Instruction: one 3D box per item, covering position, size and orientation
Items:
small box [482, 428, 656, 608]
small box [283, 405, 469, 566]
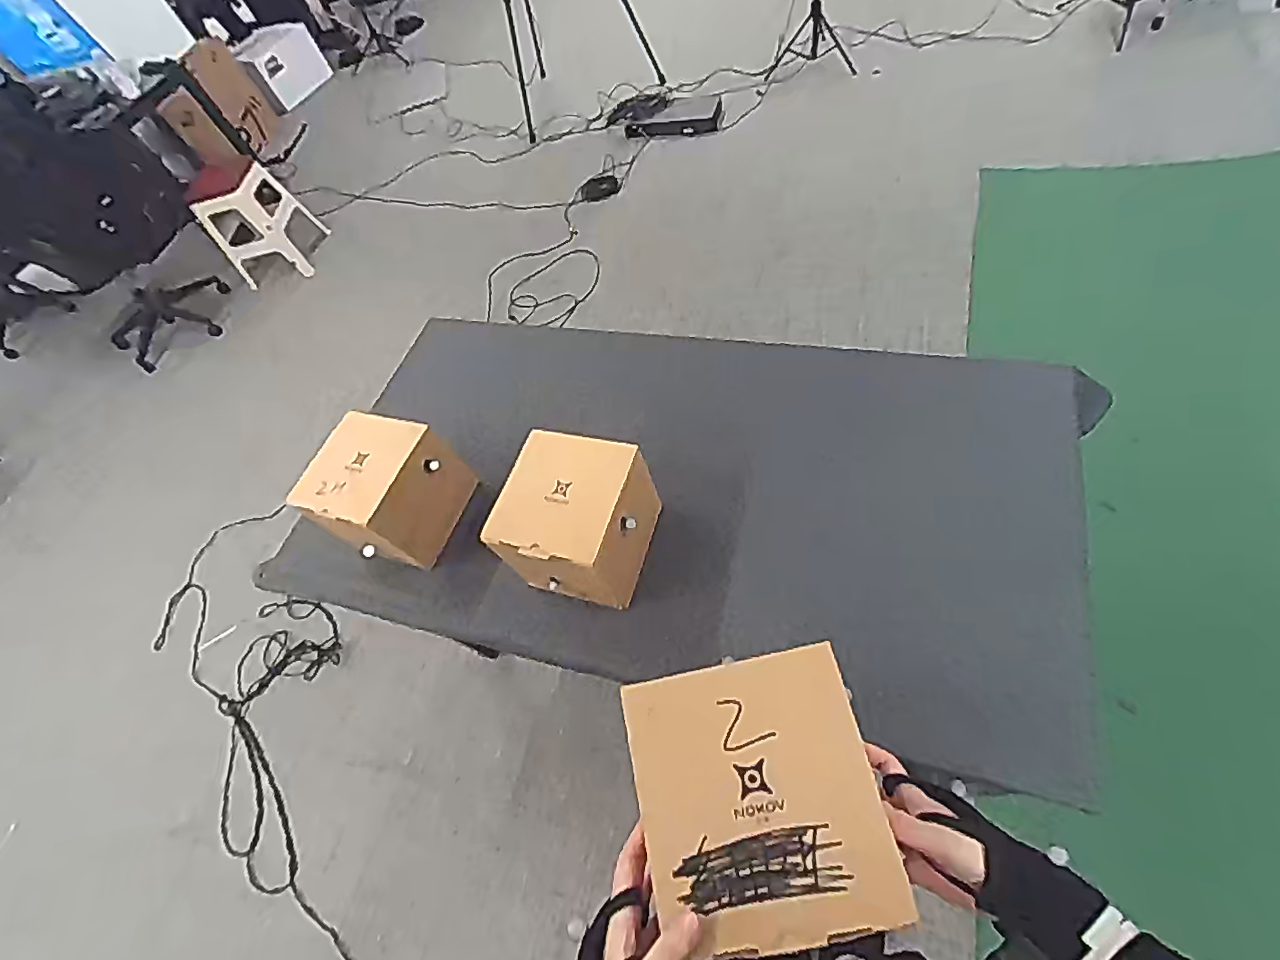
[{"bbox_3d":[-0.084,0.056,0.758,0.168,0.176,0.179,11,62,19],"label":"small box"},{"bbox_3d":[-0.398,0.011,0.856,0.168,0.176,0.179,12,62,20],"label":"small box"}]
